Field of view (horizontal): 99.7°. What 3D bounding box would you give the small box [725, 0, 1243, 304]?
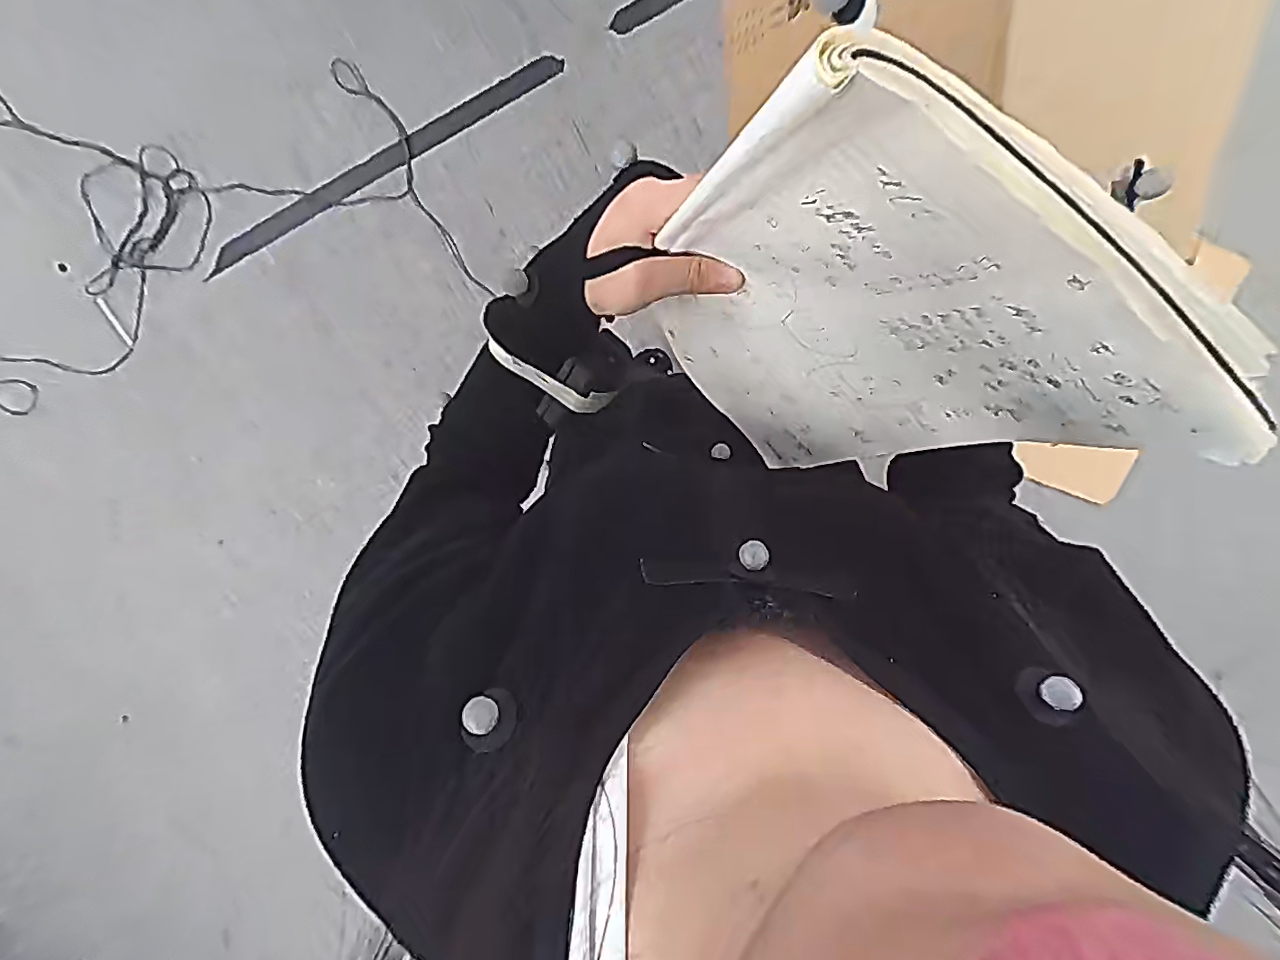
[{"bbox_3d":[0.162,-0.191,0.281,0.179,0.168,0.176,-15,110,-21],"label":"small box"}]
